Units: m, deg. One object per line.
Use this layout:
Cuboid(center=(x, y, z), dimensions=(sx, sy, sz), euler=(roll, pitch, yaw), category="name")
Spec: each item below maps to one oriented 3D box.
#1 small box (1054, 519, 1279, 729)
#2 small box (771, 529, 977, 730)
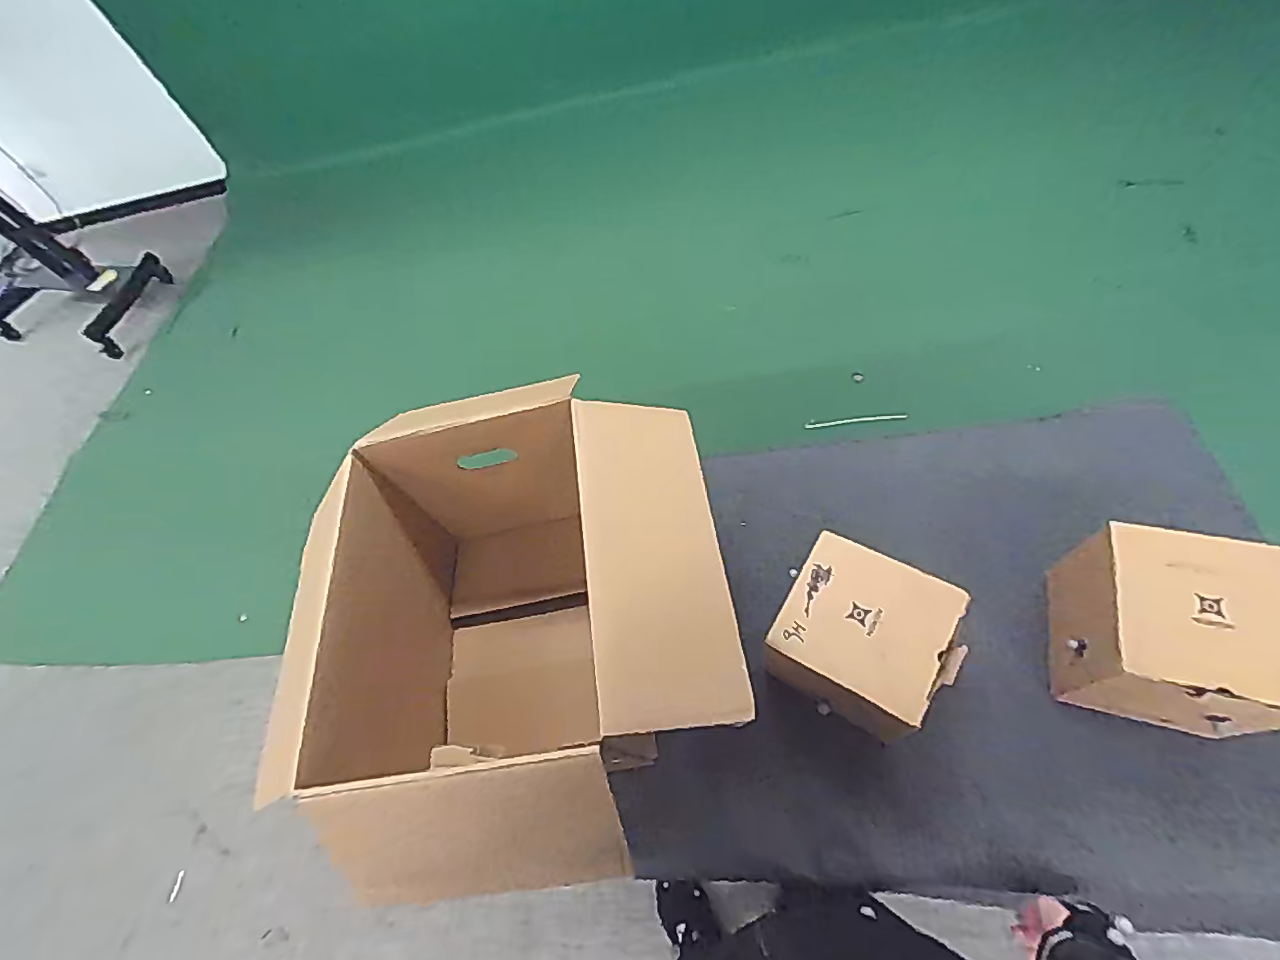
Cuboid(center=(0.607, 0.170, 0.621), dimensions=(0.168, 0.176, 0.179), euler=(10, 62, 18), category="small box")
Cuboid(center=(0.283, 0.196, 0.688), dimensions=(0.179, 0.176, 0.168), euler=(26, 69, 25), category="small box")
